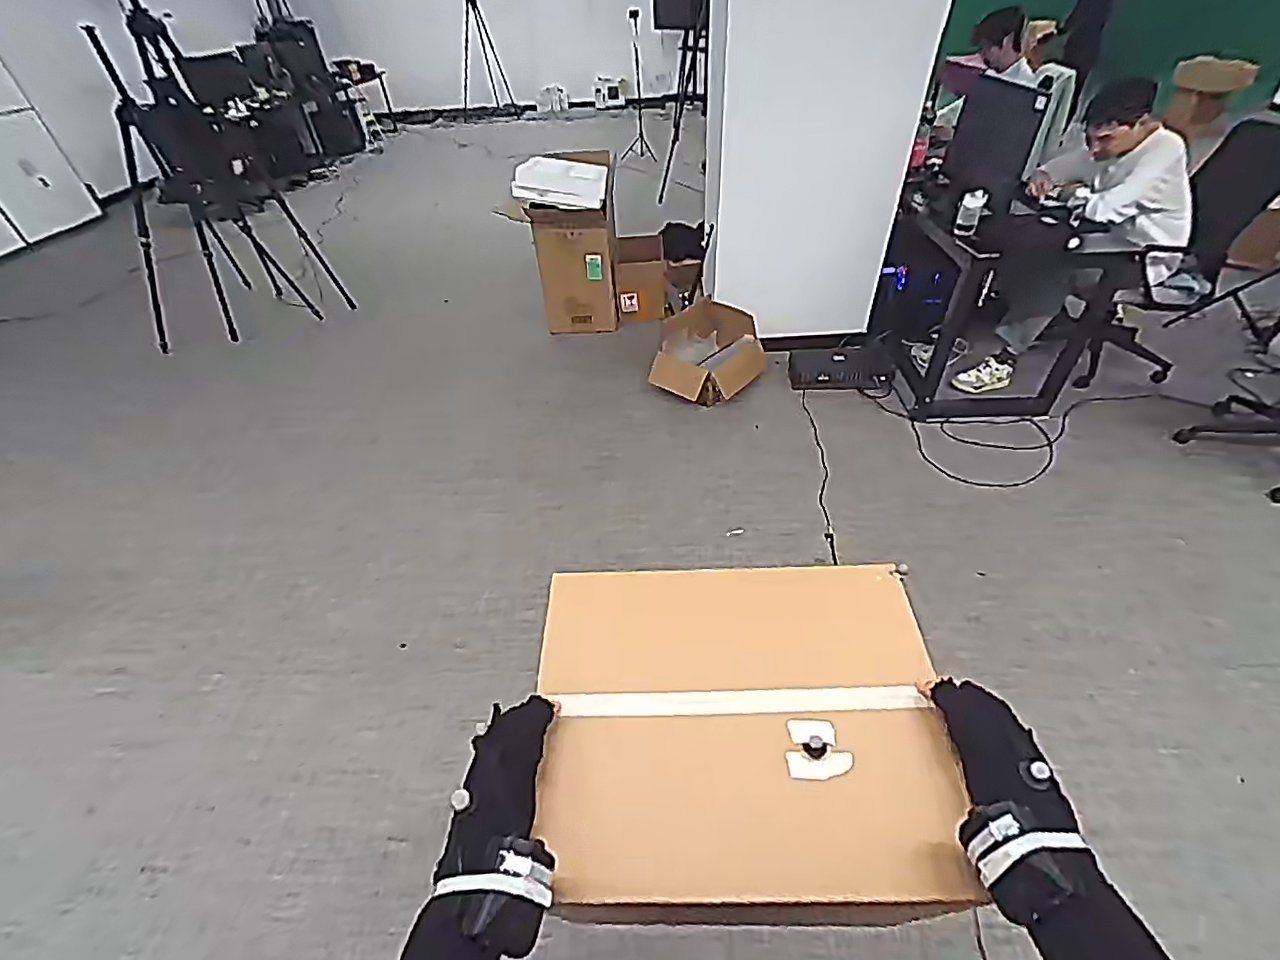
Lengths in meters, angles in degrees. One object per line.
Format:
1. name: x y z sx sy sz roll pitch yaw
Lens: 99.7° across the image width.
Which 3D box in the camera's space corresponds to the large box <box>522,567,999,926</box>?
1. large box: 0.102 0.324 0.653 0.408 0.320 0.320 -2 48 2
